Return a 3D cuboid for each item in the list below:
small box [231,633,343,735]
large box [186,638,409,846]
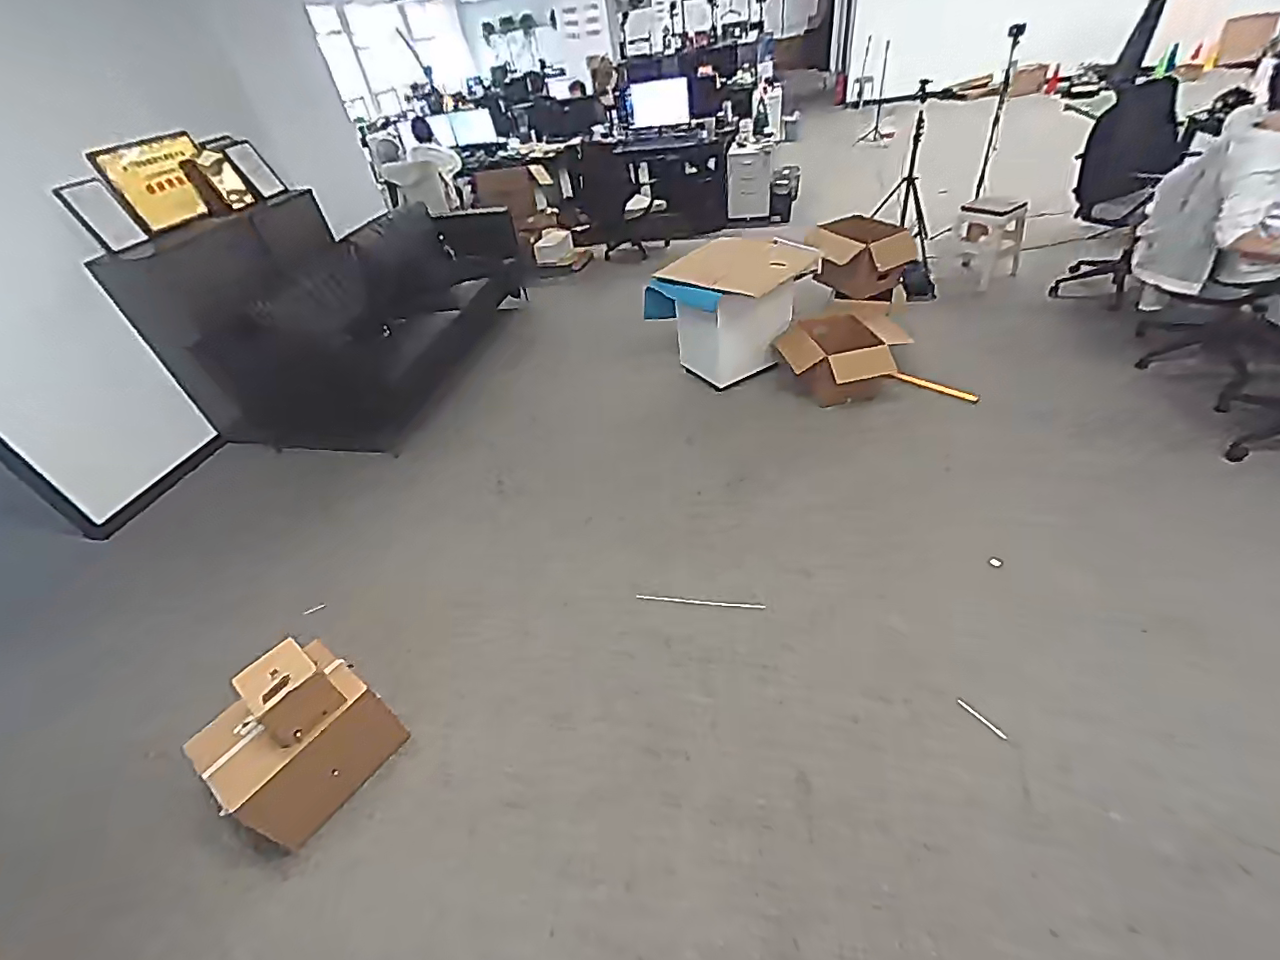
[{"bbox_3d":[-0.948,0.559,1.467,0.179,0.176,0.168,25,51,32],"label":"small box"},{"bbox_3d":[-0.994,0.767,1.614,0.320,0.320,0.408,21,50,31],"label":"large box"}]
